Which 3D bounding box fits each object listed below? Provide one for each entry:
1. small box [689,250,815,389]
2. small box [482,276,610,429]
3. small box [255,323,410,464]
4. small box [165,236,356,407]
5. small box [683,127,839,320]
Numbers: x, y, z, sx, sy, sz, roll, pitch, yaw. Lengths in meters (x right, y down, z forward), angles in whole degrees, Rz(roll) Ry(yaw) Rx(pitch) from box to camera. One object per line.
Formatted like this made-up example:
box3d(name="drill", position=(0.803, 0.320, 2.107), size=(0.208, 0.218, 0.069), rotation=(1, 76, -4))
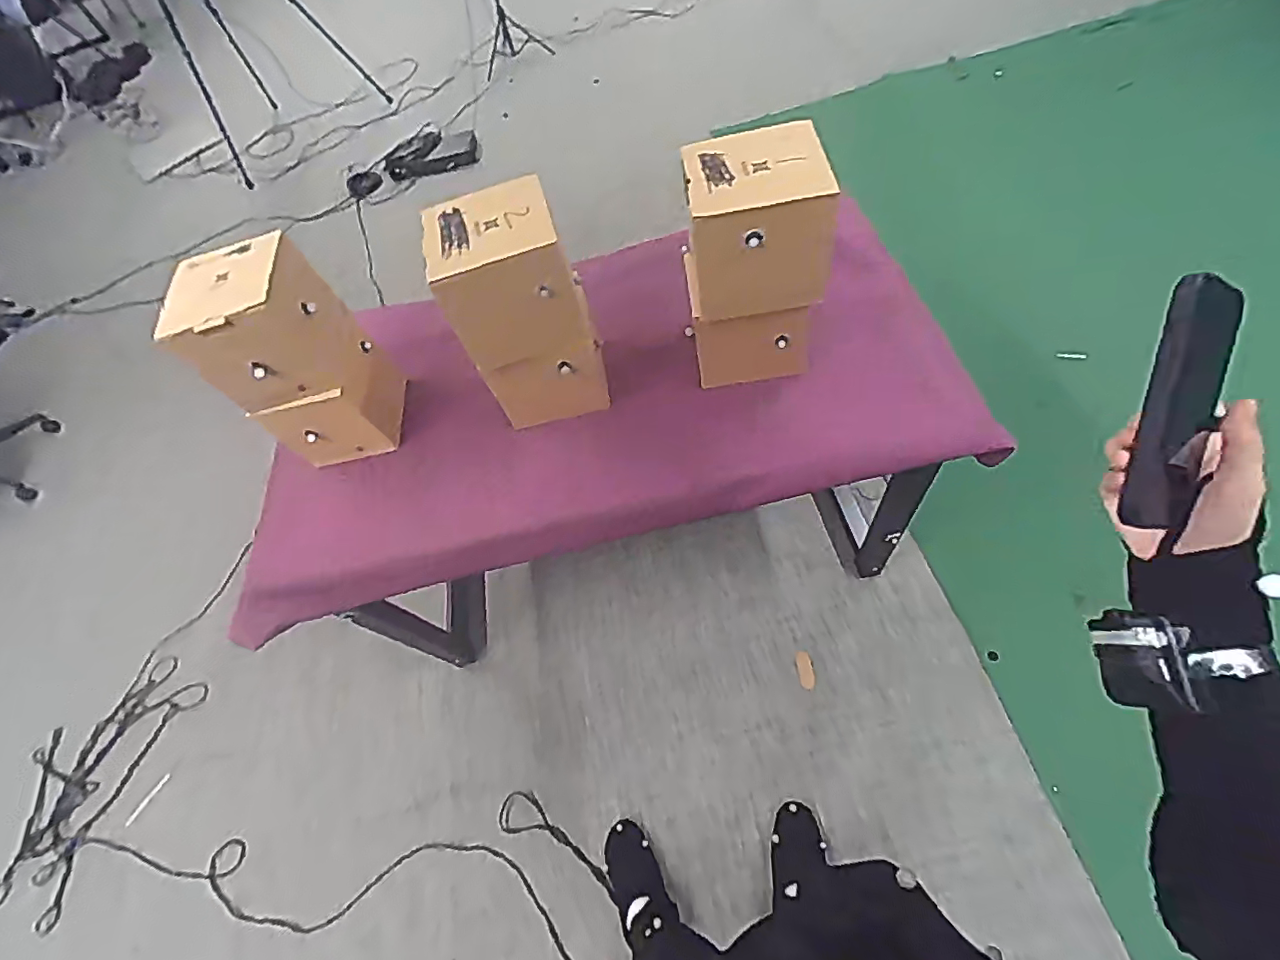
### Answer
box3d(name="small box", position=(0.180, -0.272, 0.894), size=(0.179, 0.176, 0.168), rotation=(-7, 58, 9))
box3d(name="small box", position=(-0.154, -0.212, 0.928), size=(0.179, 0.176, 0.168), rotation=(-13, 58, 5))
box3d(name="small box", position=(-0.537, -0.145, 0.973), size=(0.168, 0.176, 0.179), rotation=(-12, 58, 5))
box3d(name="small box", position=(-0.568, -0.234, 0.838), size=(0.168, 0.176, 0.179), rotation=(-16, 59, 2))
box3d(name="small box", position=(0.160, -0.343, 0.747), size=(0.179, 0.176, 0.168), rotation=(-7, 58, 7))
